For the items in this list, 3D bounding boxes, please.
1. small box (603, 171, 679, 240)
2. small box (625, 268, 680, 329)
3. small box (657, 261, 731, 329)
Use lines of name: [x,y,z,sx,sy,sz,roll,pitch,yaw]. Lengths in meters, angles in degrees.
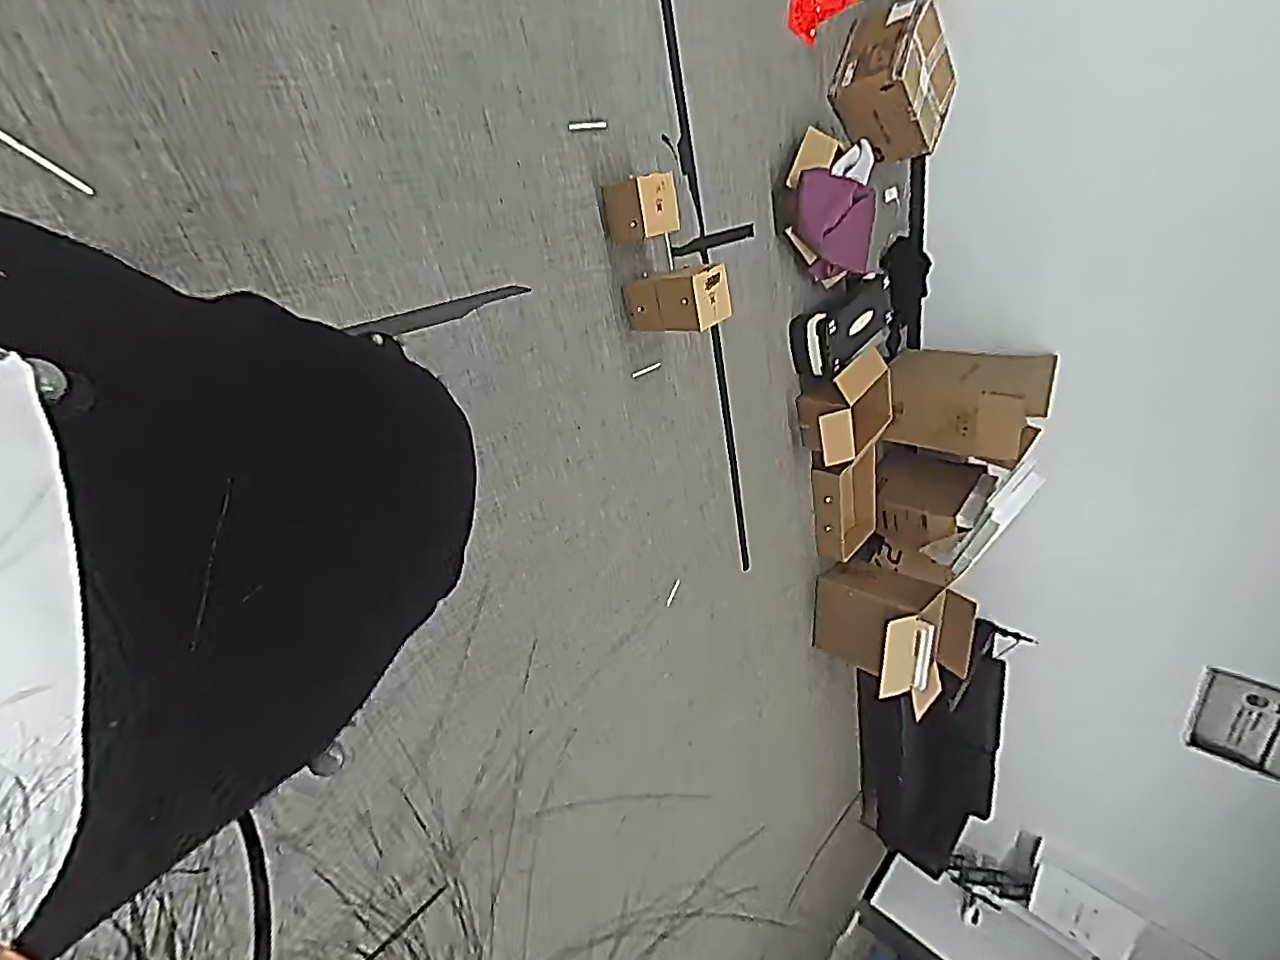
small box: [0.002,-0.894,1.769,0.168,0.176,0.179,-31,122,-35]
small box: [0.065,-0.639,1.910,0.179,0.176,0.168,-34,124,-32]
small box: [0.175,-0.608,1.789,0.168,0.176,0.179,-34,124,-32]
